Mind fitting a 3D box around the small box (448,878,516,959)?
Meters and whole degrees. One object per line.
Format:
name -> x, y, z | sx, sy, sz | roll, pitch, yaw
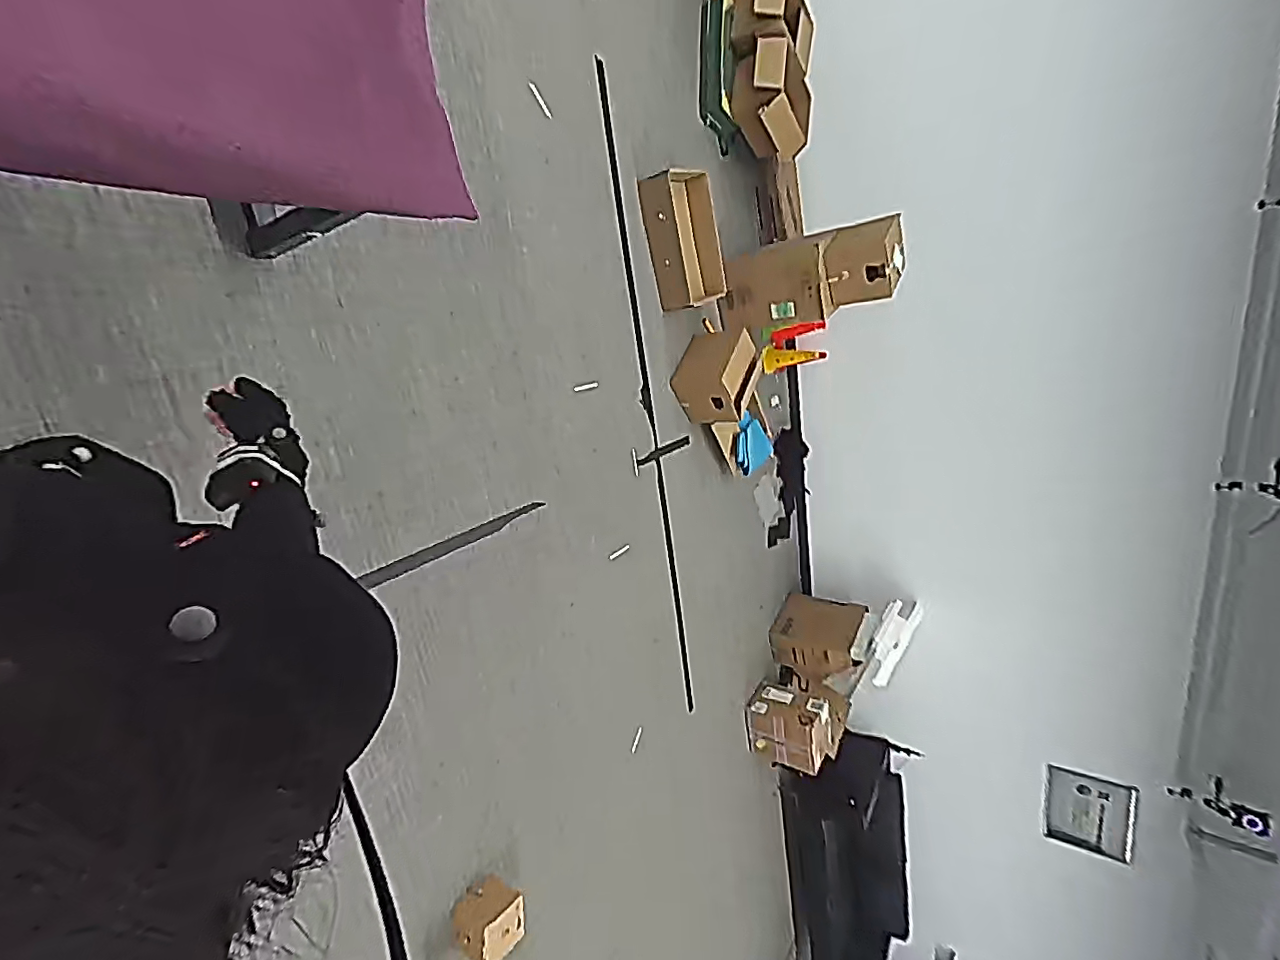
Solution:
small box -> -0.561, 1.570, 1.909 | 0.179, 0.176, 0.168 | -7, 99, -54
